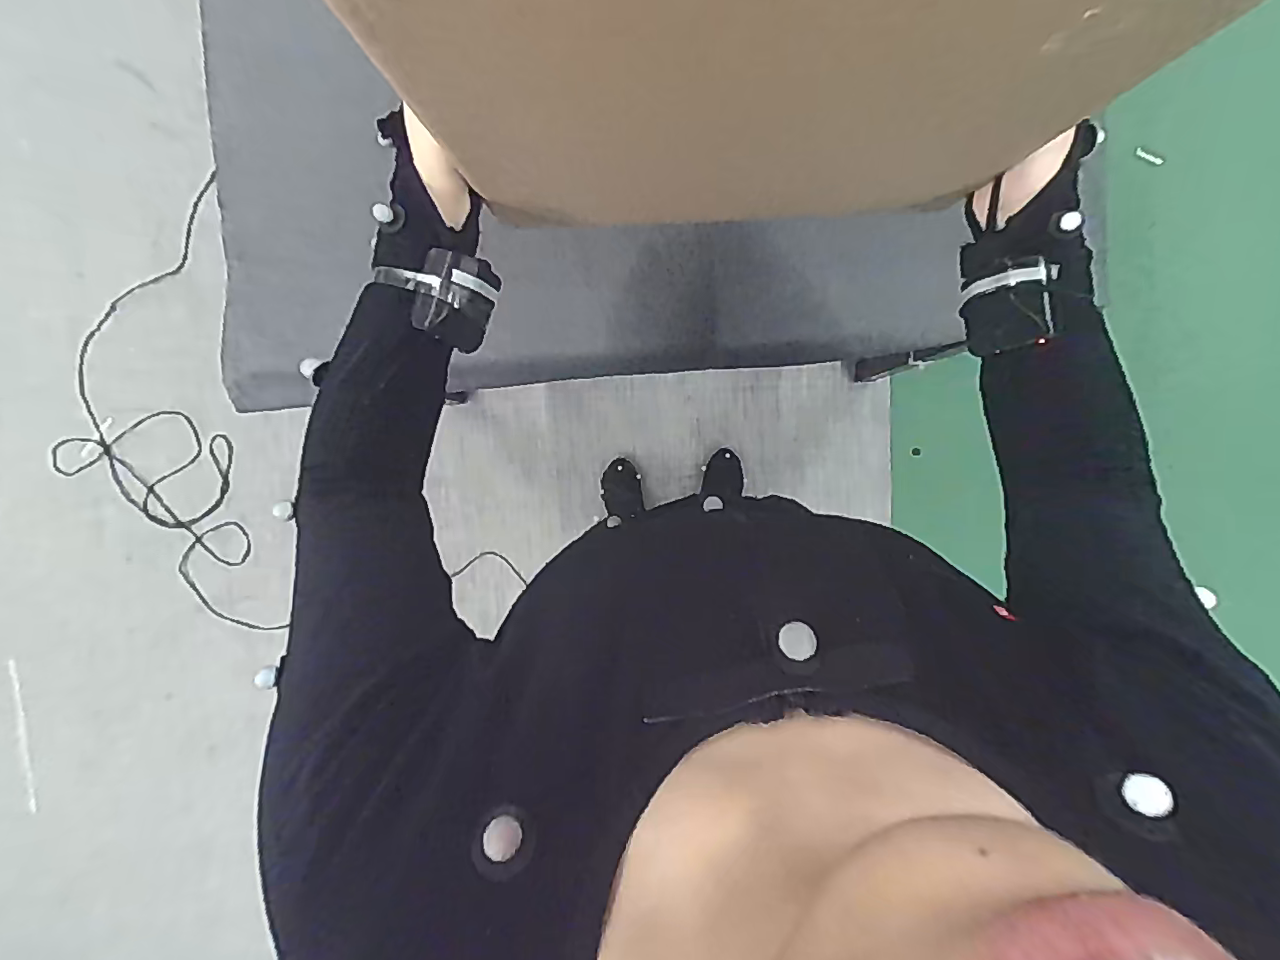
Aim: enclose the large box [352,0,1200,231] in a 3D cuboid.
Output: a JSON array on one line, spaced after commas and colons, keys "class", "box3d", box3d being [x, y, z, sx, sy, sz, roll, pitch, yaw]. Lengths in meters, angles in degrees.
[{"class": "large box", "box3d": [0.063, -0.373, 0.335, 0.408, 0.320, 0.320, -3, 98, 0]}]
